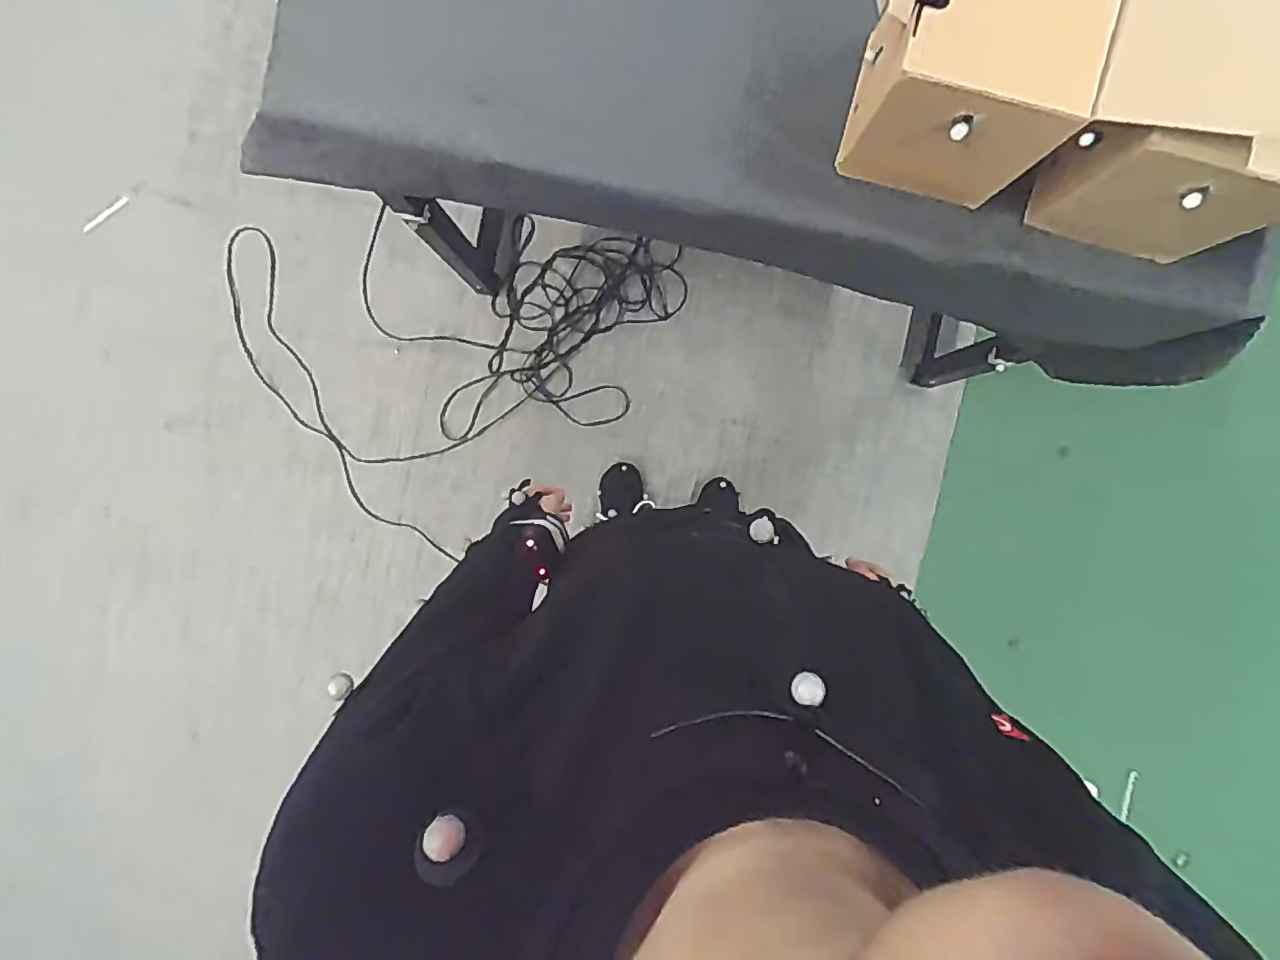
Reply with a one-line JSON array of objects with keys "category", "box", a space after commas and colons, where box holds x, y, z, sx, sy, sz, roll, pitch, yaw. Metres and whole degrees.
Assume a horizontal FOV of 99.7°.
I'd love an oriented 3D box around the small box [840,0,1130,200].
[{"category": "small box", "box": [0.331, -0.413, 0.544, 0.179, 0.176, 0.168, 15, 92, 1]}]
